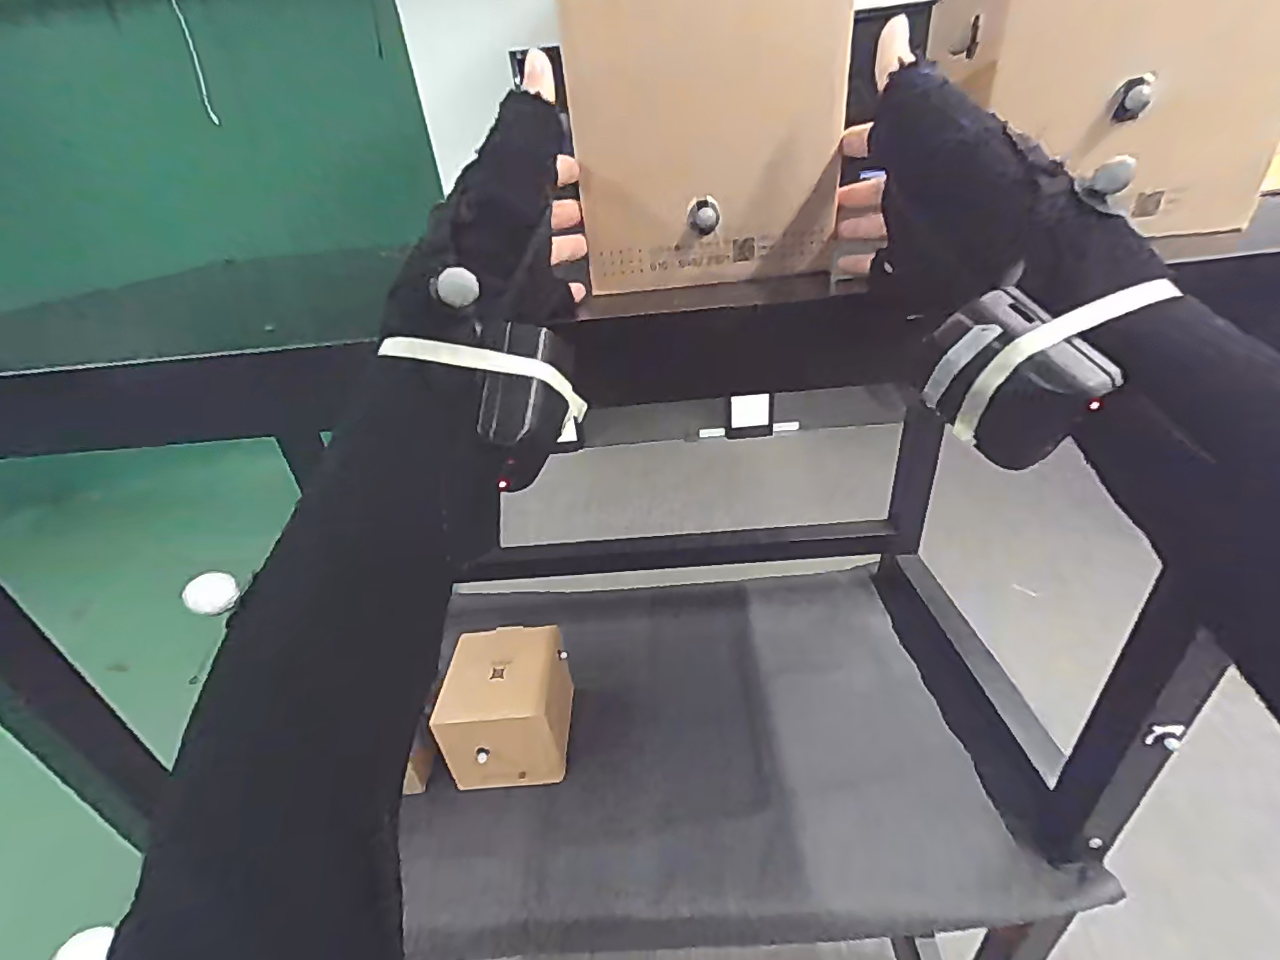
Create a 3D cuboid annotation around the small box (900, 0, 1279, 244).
[{"bbox_3d":[0.300,-0.271,0.389,0.168,0.176,0.179,1,30,12],"label":"small box"}]
